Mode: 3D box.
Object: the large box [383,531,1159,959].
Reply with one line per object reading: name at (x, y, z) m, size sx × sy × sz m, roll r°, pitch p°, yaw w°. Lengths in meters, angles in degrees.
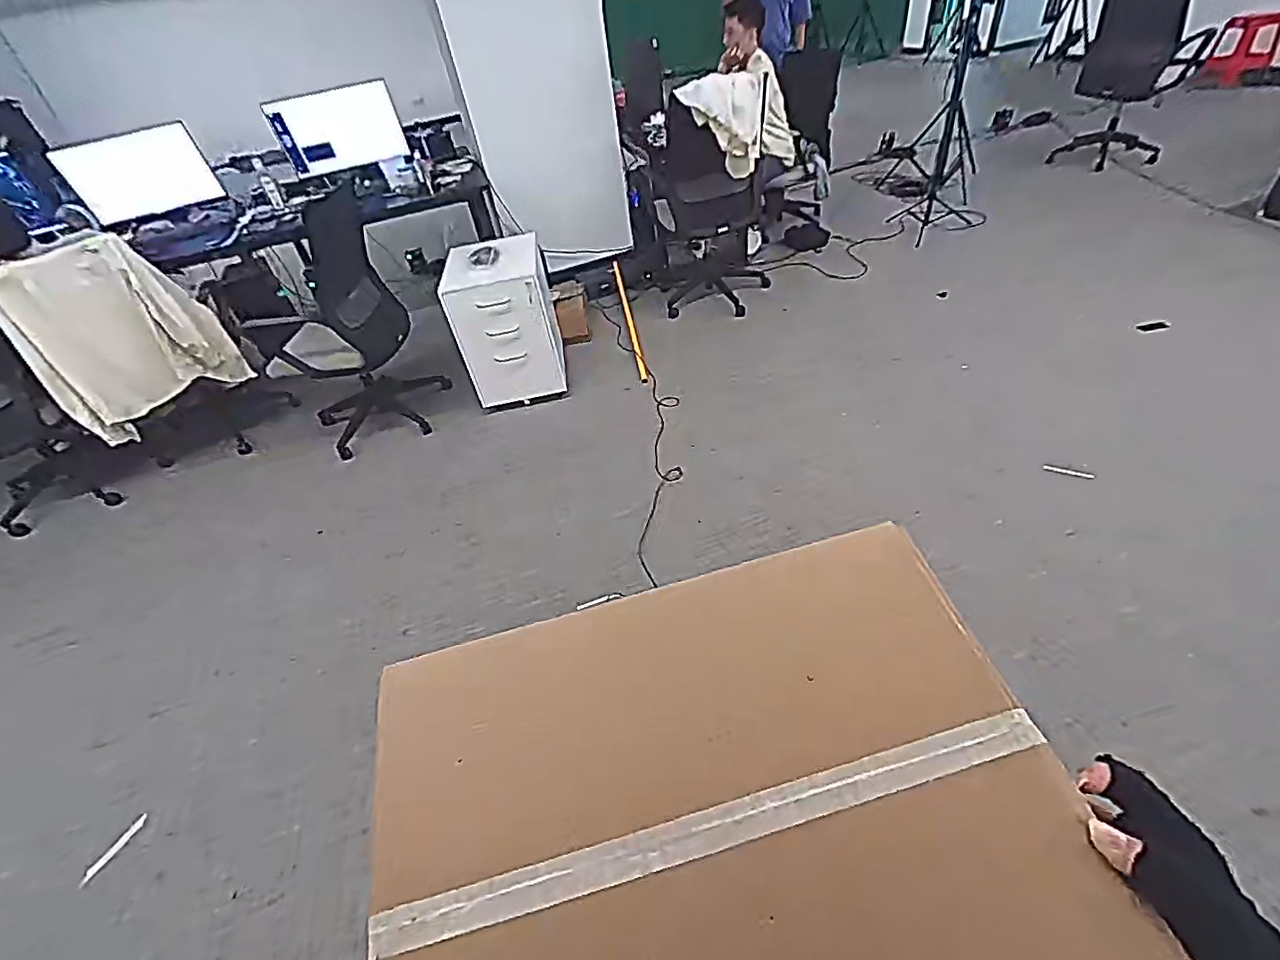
large box at (0.060, 0.297, 0.445) m, size 0.408 × 0.320 × 0.320 m, roll -16°, pitch 52°, yaw -3°
